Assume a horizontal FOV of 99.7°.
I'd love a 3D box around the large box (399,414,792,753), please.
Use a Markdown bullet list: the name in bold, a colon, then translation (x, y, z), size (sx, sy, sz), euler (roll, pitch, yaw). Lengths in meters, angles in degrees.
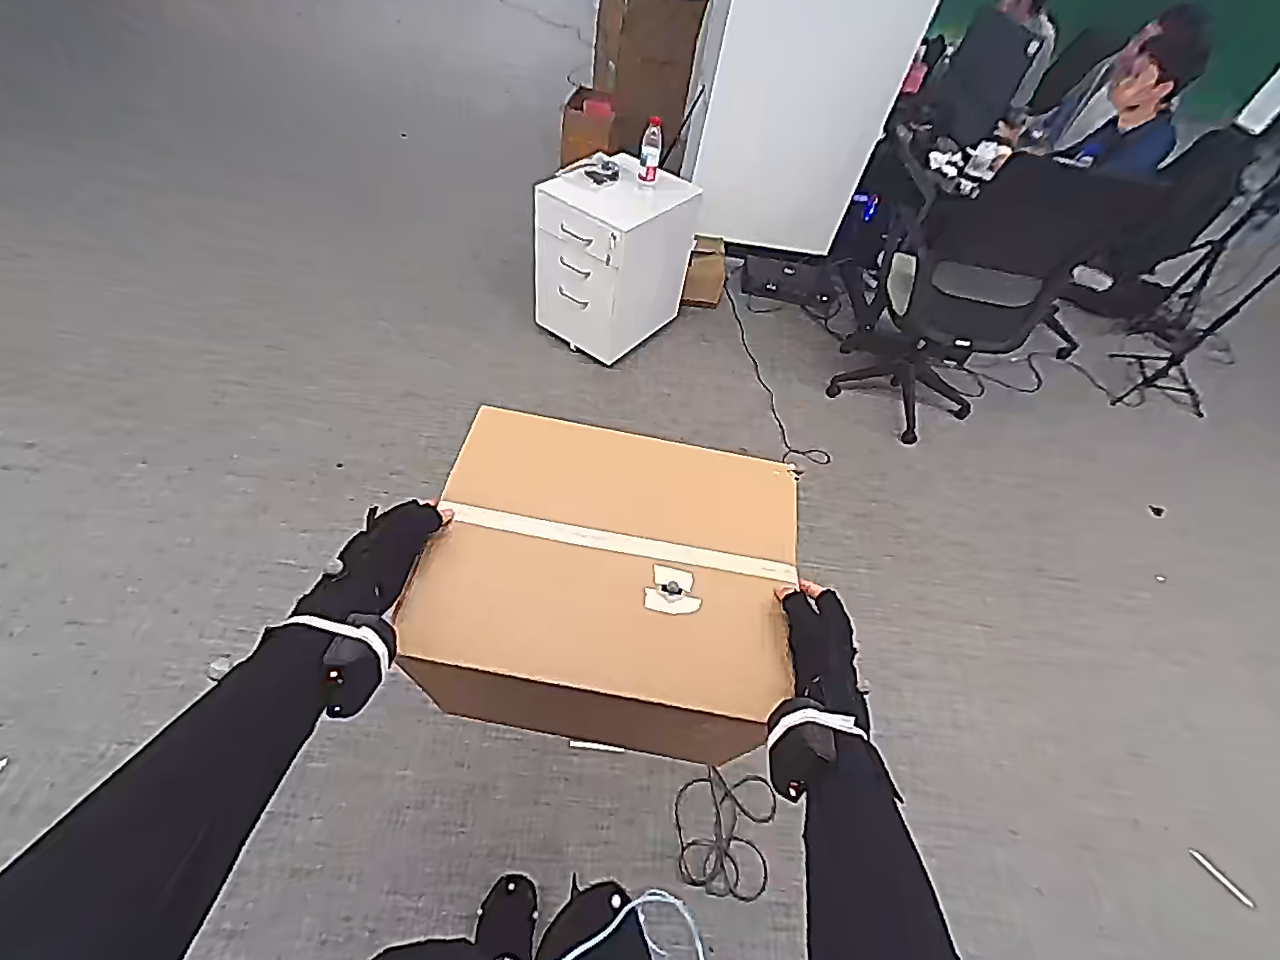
- **large box**: translation (-0.043, 0.154, 0.738), size (0.408, 0.320, 0.320), euler (11, 56, -1)
